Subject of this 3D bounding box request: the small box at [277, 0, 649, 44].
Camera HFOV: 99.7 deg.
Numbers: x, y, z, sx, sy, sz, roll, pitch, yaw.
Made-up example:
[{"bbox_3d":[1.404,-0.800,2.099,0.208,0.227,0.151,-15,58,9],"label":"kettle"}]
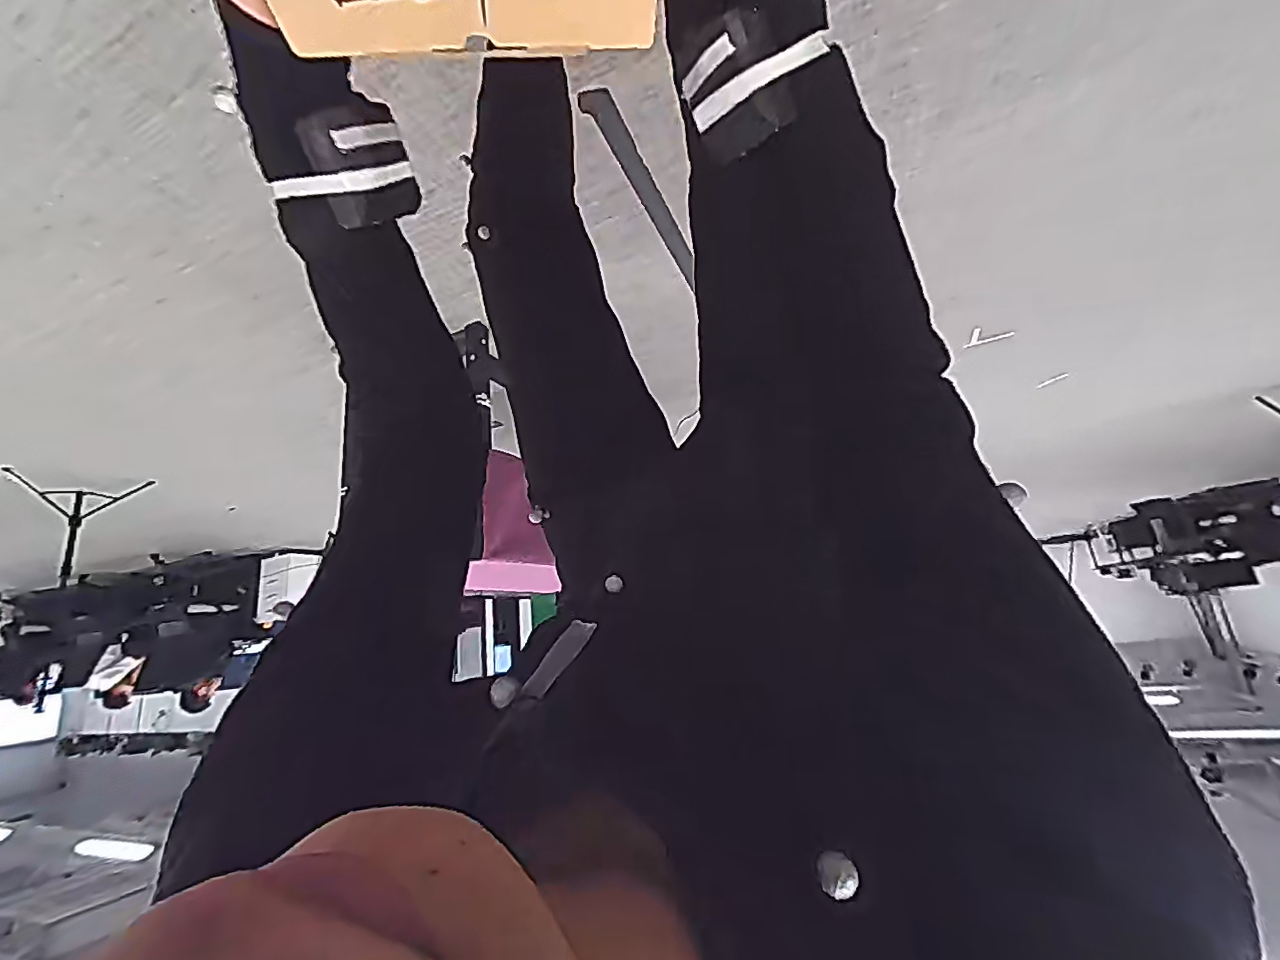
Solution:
[{"bbox_3d":[-0.081,-0.310,0.197,0.168,0.176,0.179,-7,163,-7],"label":"small box"}]
